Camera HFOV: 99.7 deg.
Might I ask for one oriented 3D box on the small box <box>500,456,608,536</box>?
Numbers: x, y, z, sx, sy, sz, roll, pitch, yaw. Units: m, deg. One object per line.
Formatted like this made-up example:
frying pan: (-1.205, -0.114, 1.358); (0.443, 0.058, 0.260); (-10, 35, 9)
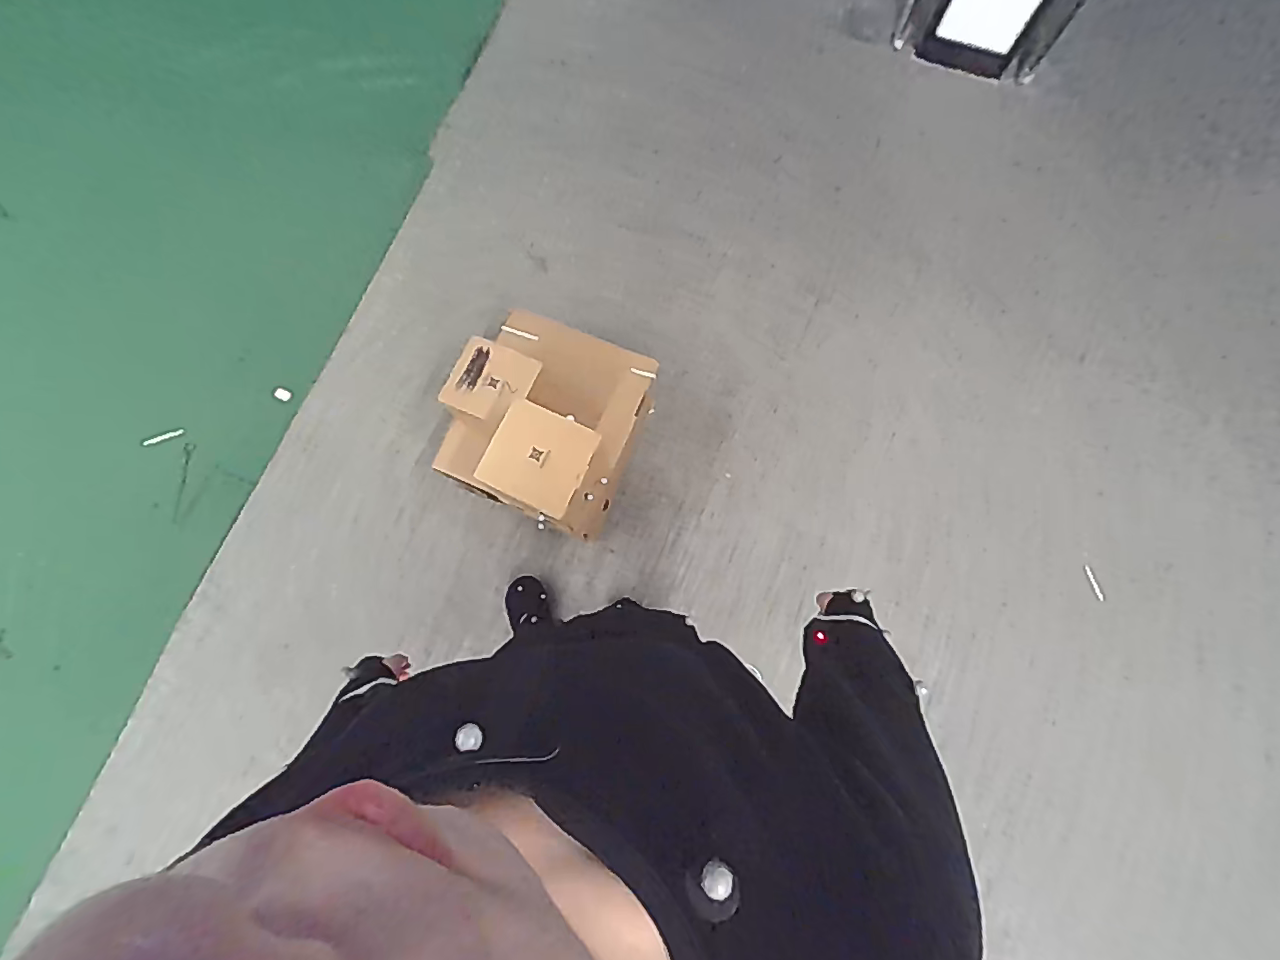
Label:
small box: (-0.176, 0.006, 1.173); (0.168, 0.176, 0.179); (24, 80, 5)

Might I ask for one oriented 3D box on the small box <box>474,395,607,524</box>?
small box: (-0.175, -0.028, 1.012); (0.179, 0.176, 0.168); (25, 79, 4)
